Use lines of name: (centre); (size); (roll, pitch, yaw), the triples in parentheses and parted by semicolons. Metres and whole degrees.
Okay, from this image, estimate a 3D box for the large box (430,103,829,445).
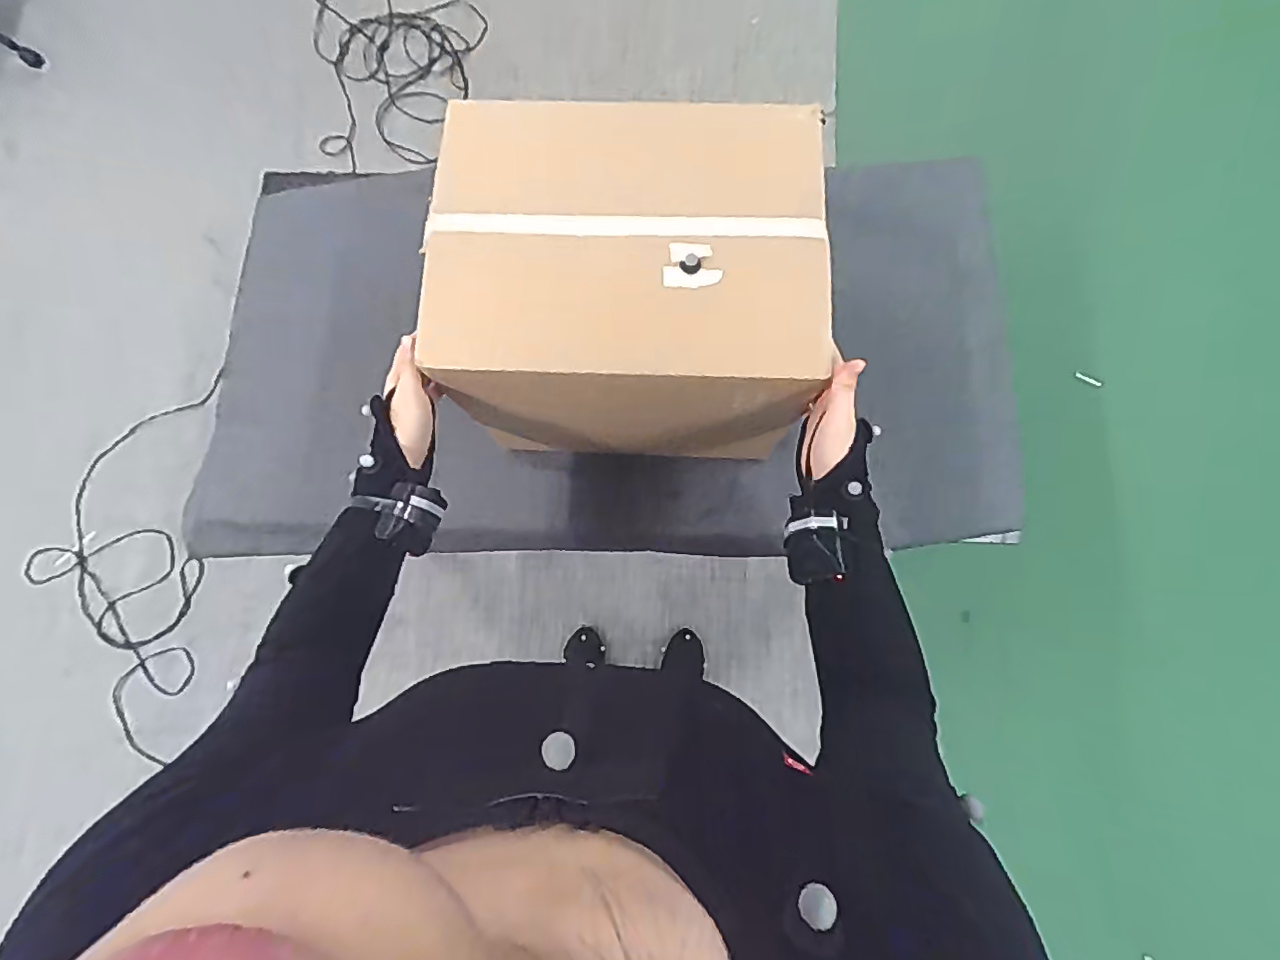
large box: (-0.008, -0.233, 0.707); (0.408, 0.320, 0.320); (2, 79, 1)
